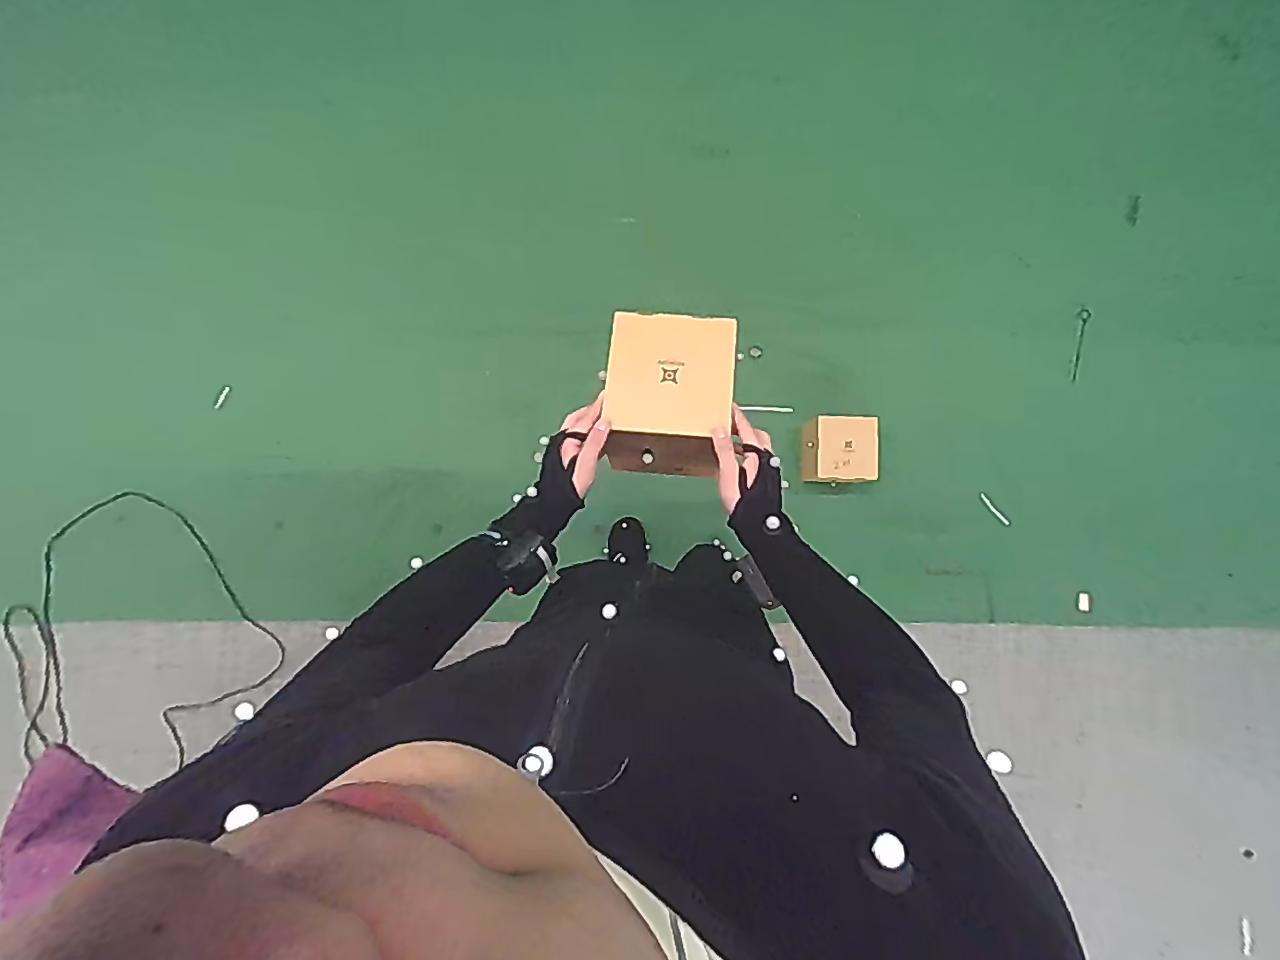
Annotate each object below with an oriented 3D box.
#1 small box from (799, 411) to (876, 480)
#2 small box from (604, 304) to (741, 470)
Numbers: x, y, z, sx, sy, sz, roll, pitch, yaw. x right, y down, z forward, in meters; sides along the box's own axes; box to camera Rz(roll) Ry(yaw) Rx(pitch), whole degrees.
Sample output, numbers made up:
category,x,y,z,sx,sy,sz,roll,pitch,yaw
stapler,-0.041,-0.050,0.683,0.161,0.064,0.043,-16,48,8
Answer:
category,x,y,z,sx,sy,sz,roll,pitch,yaw
small box,0.564,-0.095,1.561,0.168,0.176,0.179,2,87,0
small box,0.046,-0.122,0.762,0.168,0.176,0.179,4,73,3
